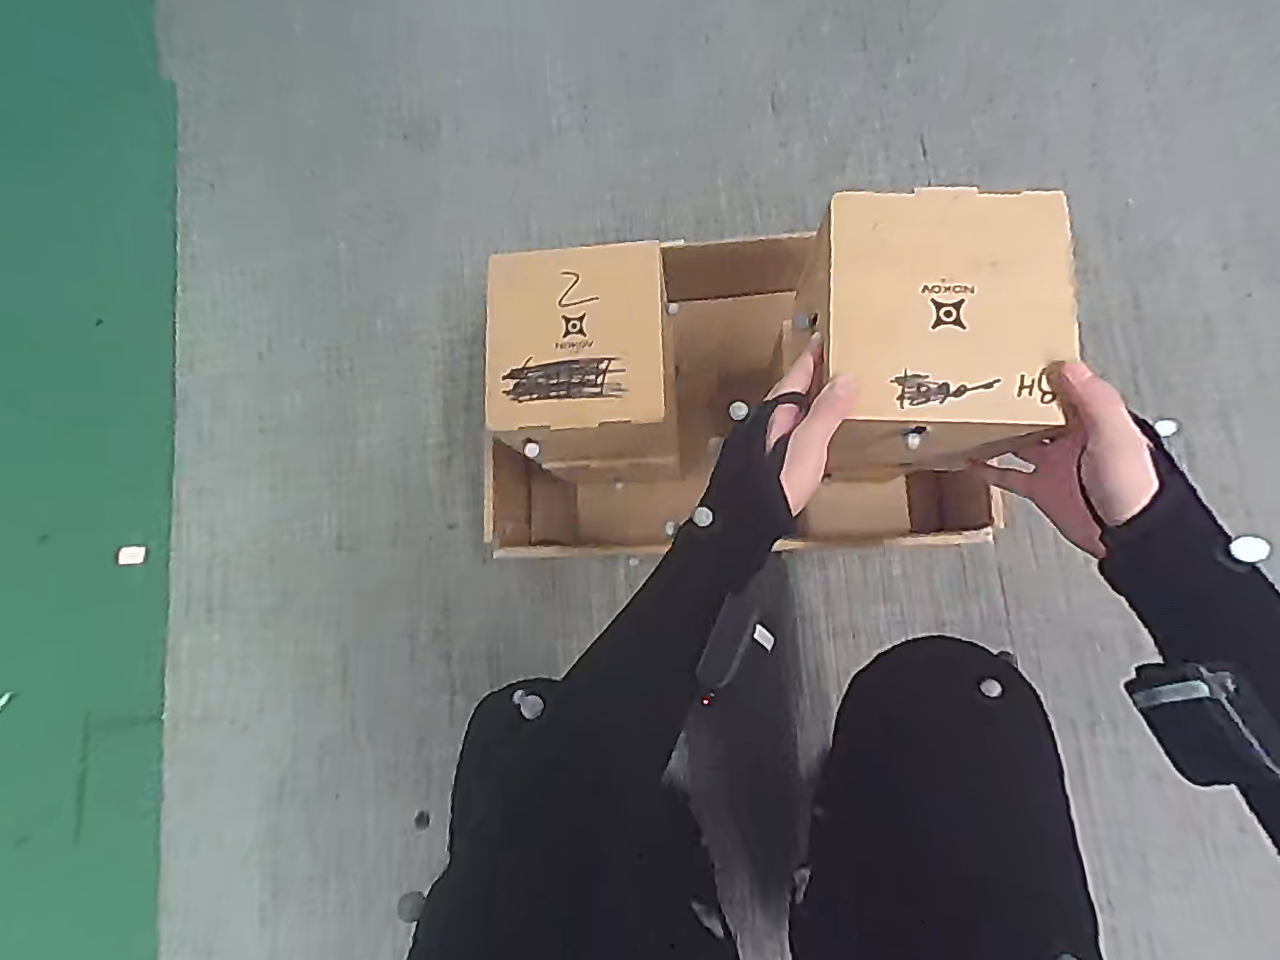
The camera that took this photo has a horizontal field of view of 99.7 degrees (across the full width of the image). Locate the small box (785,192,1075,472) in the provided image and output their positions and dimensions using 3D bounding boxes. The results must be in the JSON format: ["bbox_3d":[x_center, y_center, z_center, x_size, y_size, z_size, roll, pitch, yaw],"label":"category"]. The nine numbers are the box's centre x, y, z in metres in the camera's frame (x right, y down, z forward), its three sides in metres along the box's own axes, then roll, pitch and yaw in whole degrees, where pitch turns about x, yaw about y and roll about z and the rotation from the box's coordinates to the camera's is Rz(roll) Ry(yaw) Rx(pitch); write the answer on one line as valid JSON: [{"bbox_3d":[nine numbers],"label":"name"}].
[{"bbox_3d":[0.221,-0.112,0.460,0.168,0.176,0.179,2,80,6],"label":"small box"}]
